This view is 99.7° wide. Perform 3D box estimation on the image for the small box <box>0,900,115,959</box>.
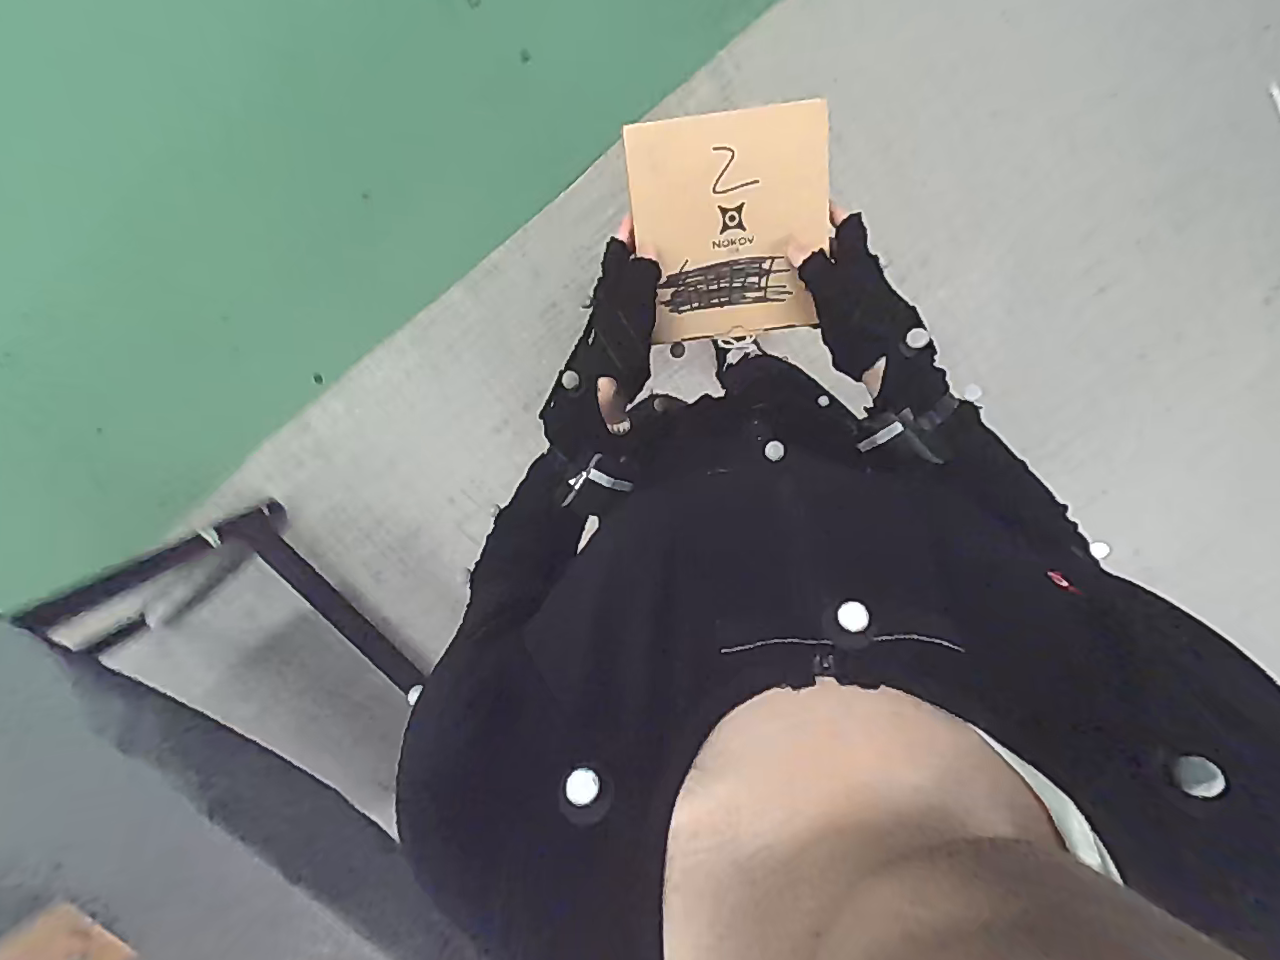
[{"bbox_3d":[-1.047,0.855,0.889,0.179,0.176,0.168,-35,102,7],"label":"small box"}]
